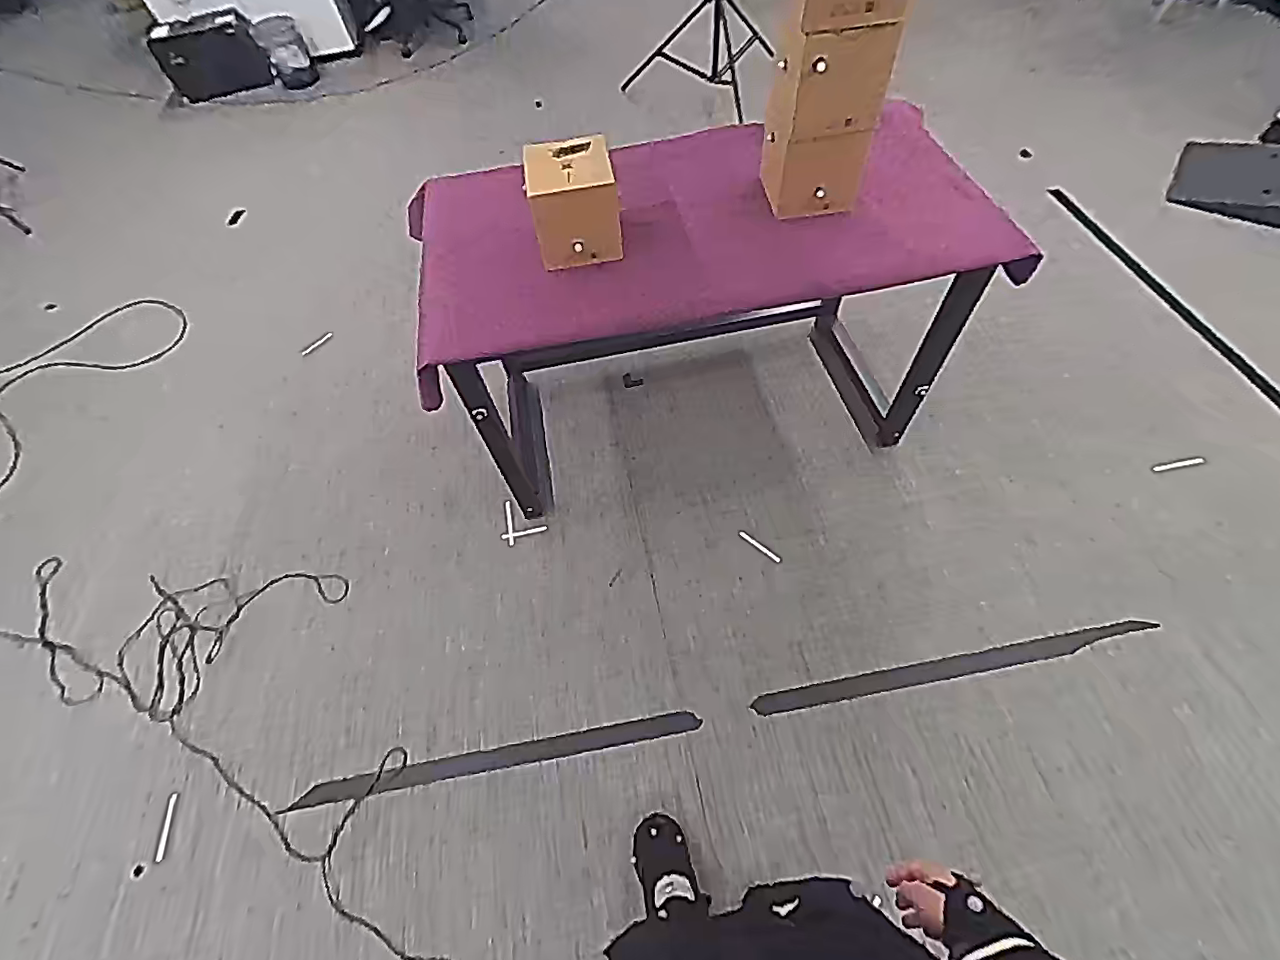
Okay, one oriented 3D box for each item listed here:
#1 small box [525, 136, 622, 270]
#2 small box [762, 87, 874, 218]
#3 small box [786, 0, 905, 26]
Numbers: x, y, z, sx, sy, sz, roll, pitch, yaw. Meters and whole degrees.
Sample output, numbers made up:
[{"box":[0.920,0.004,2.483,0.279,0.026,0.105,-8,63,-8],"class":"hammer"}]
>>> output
[{"box":[-0.133,-0.560,1.101,0.168,0.176,0.179,-10,59,-1],"class":"small box"},{"box":[0.359,-0.681,1.130,0.168,0.176,0.179,-7,59,2],"class":"small box"},{"box":[0.331,-0.844,0.848,0.168,0.176,0.179,-5,57,1],"class":"small box"}]
